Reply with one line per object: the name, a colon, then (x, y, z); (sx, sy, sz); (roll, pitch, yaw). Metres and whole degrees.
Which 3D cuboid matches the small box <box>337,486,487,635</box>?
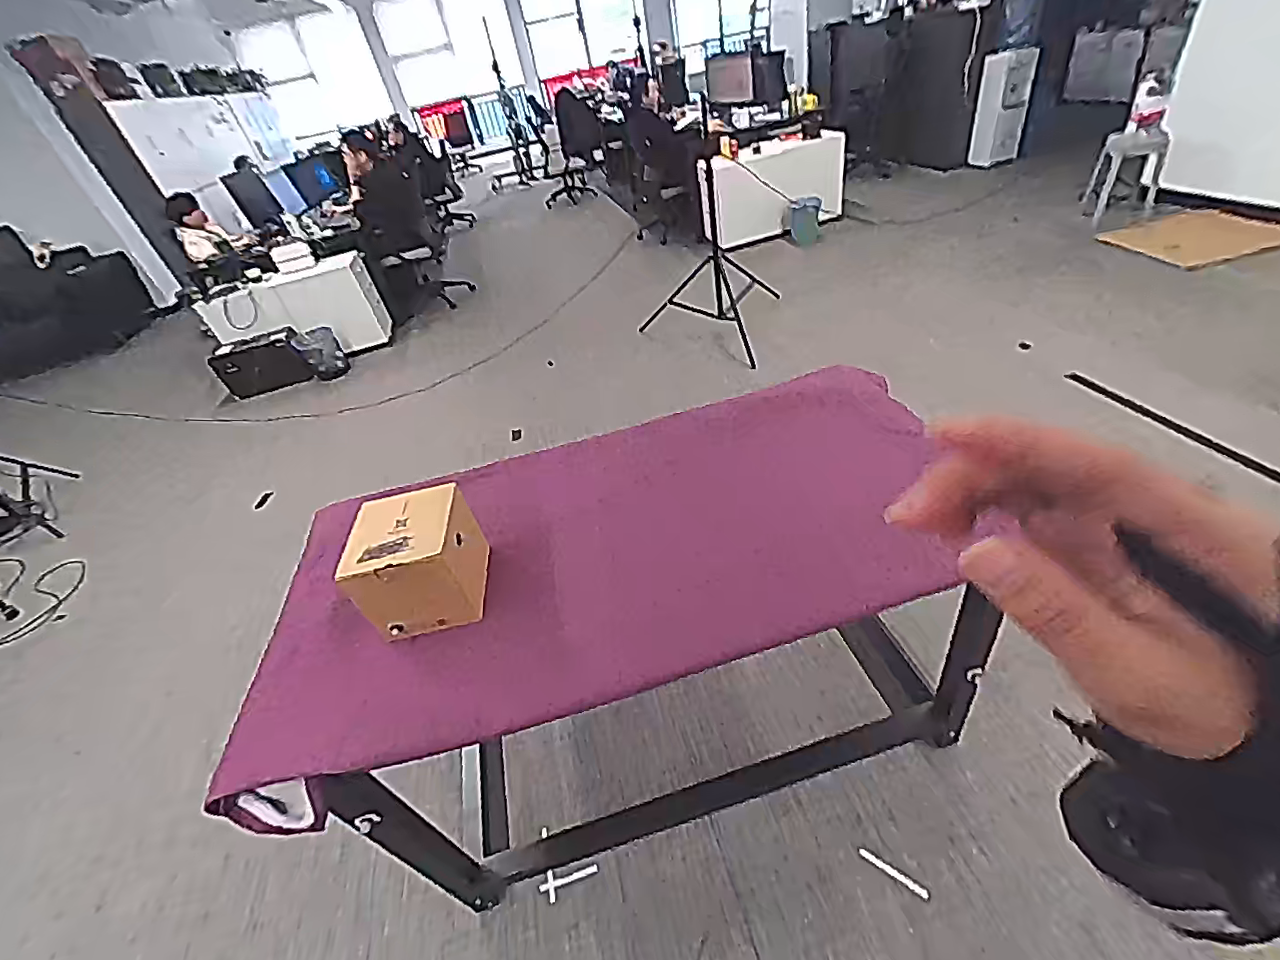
small box: (-0.368, 0.141, 0.914); (0.168, 0.176, 0.179); (-13, 39, 0)
